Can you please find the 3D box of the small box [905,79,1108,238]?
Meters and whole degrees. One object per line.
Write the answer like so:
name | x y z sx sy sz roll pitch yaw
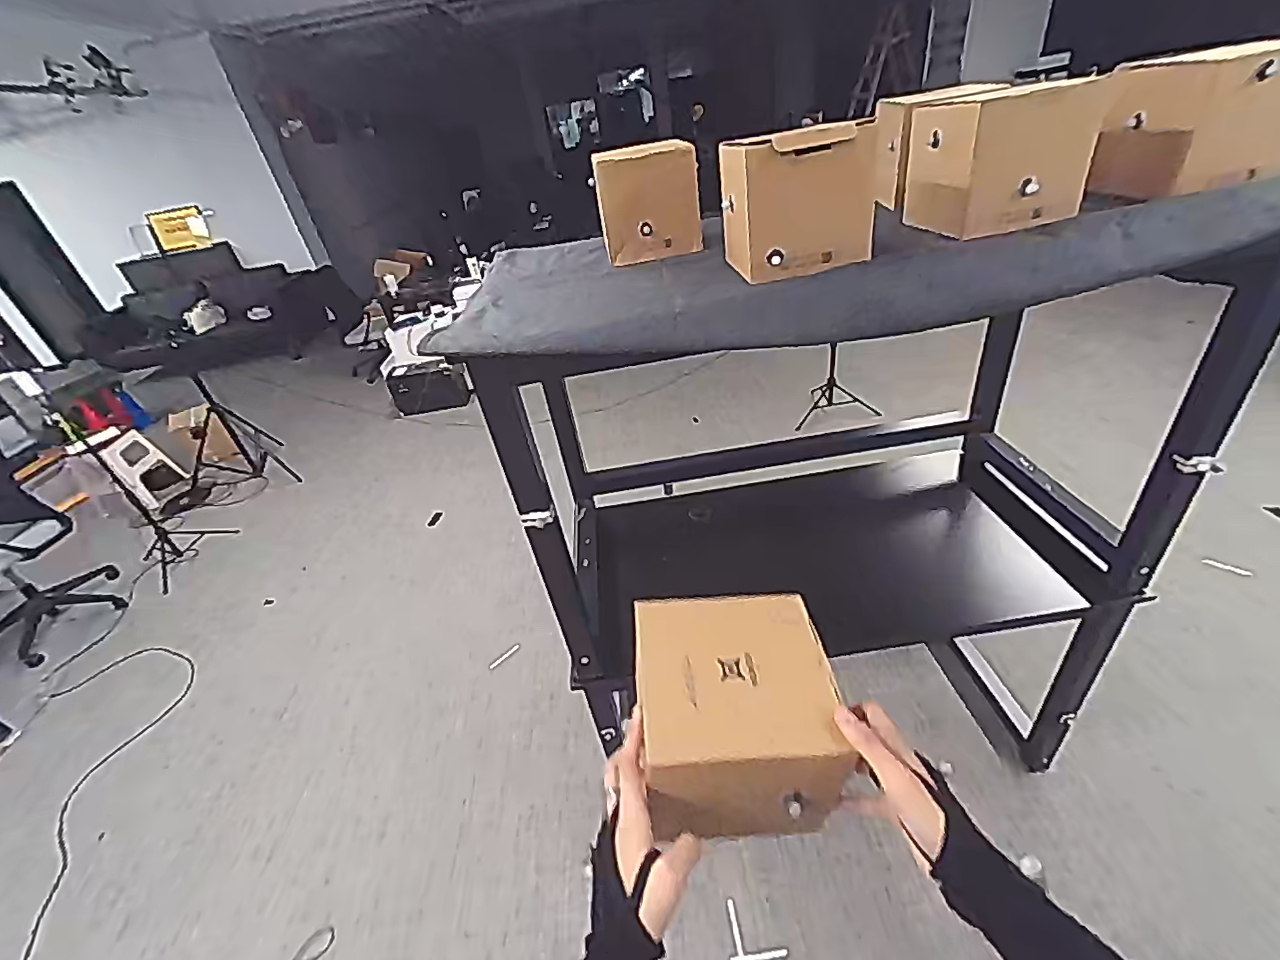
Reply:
small box | 0.510 -0.462 0.788 0.168 0.176 0.179 -10 33 1

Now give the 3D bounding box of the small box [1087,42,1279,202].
small box | 0.805 -0.512 0.782 0.168 0.176 0.179 -10 33 3

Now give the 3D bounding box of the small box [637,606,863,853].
small box | 0.089 0.246 0.540 0.179 0.176 0.168 -2 36 -3

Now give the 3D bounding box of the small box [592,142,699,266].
small box | 0.008 -0.502 0.985 0.168 0.176 0.179 -11 35 0
